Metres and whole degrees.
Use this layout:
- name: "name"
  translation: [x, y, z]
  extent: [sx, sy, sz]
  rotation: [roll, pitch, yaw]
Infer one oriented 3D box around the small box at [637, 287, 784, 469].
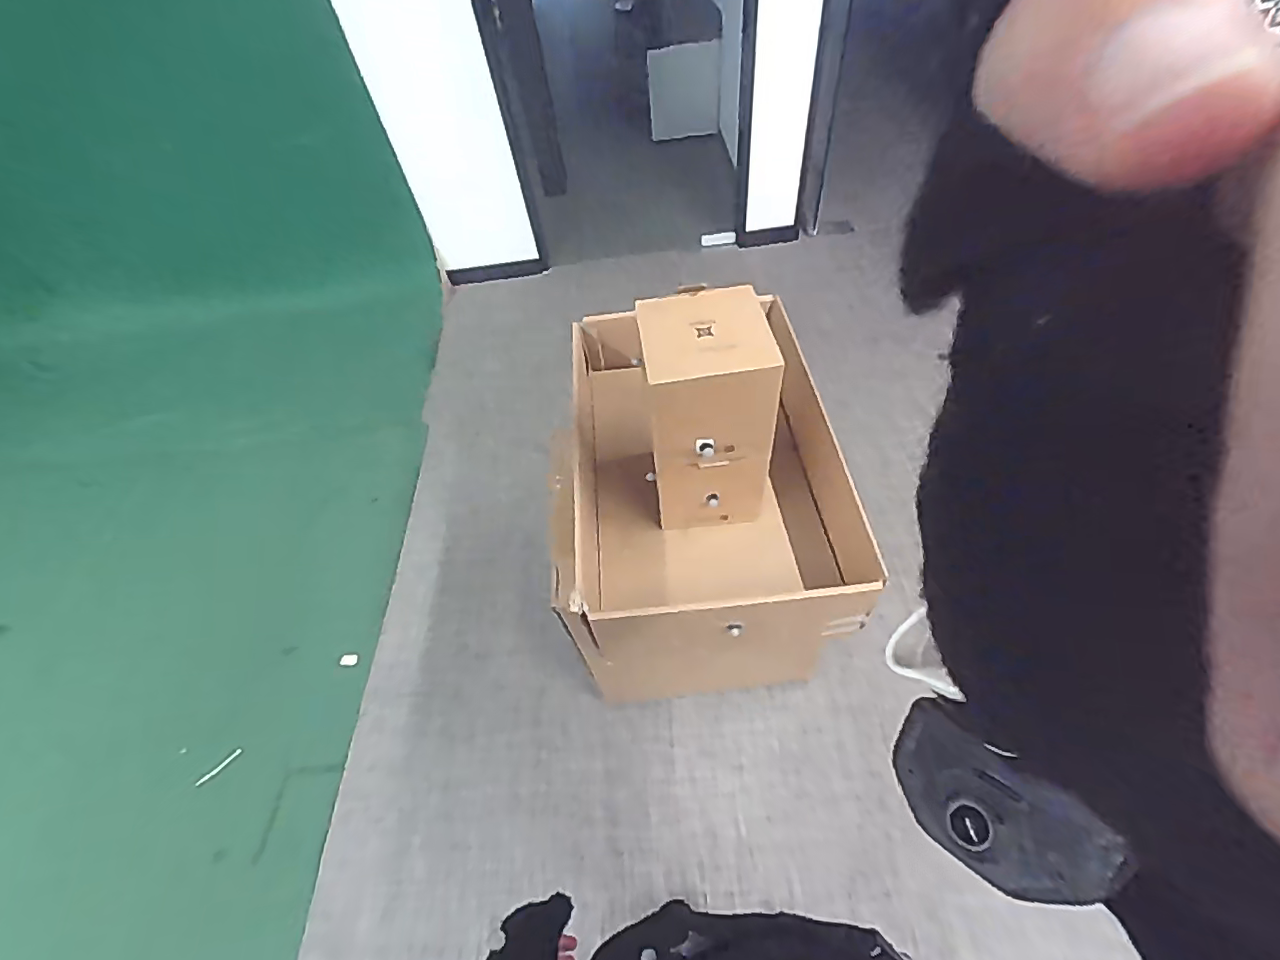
- name: "small box"
  translation: [0.090, -0.140, 0.759]
  extent: [0.168, 0.176, 0.179]
  rotation: [-9, 52, 0]
